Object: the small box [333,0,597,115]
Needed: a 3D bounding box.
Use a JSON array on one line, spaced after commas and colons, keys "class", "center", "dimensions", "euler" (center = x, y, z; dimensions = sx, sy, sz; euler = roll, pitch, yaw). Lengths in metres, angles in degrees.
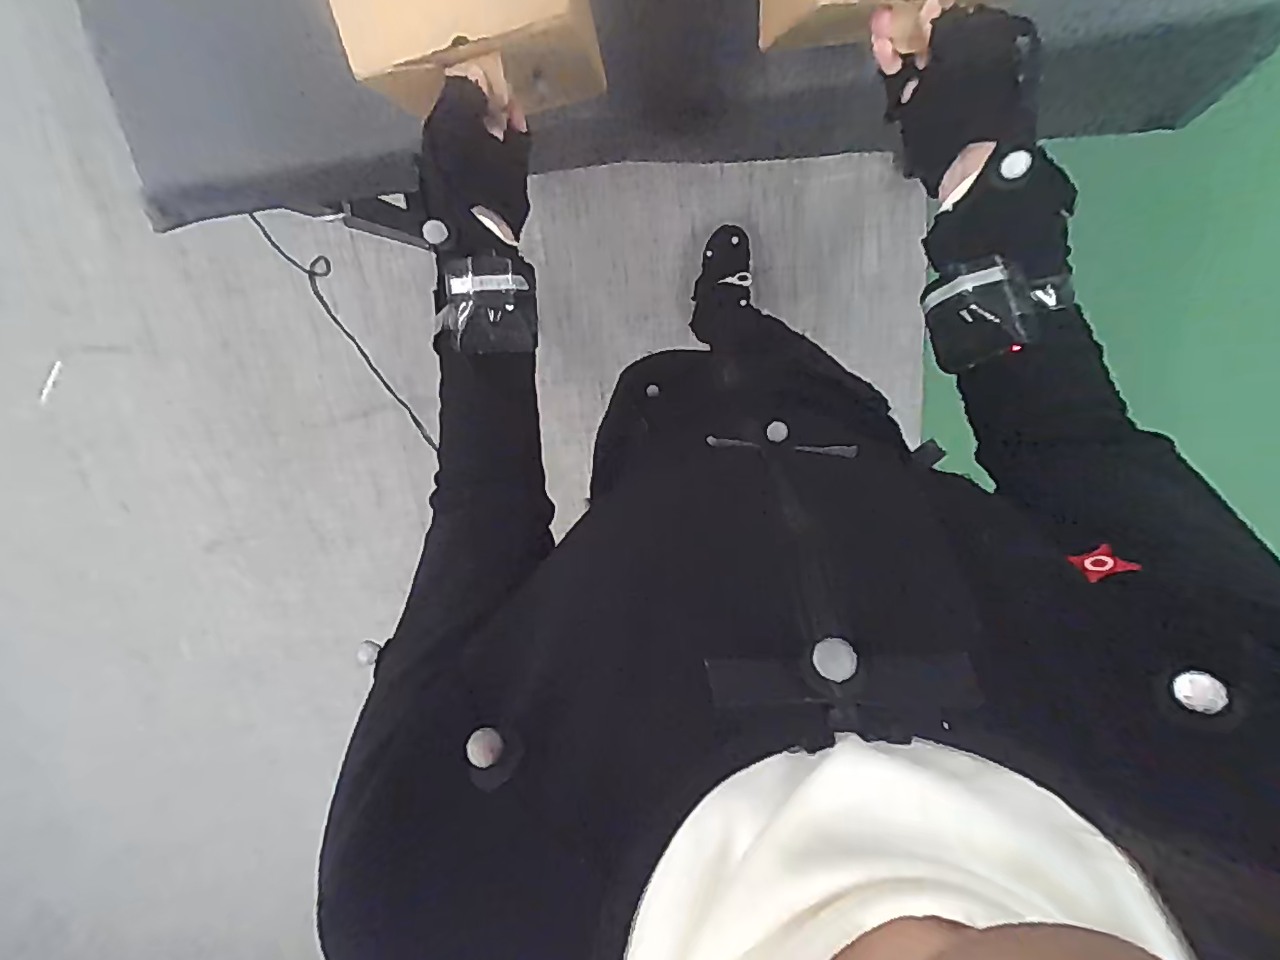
[{"class": "small box", "center": [-0.137, -0.416, 0.424], "dimensions": [0.168, 0.176, 0.179], "euler": [-10, 109, 7]}]
